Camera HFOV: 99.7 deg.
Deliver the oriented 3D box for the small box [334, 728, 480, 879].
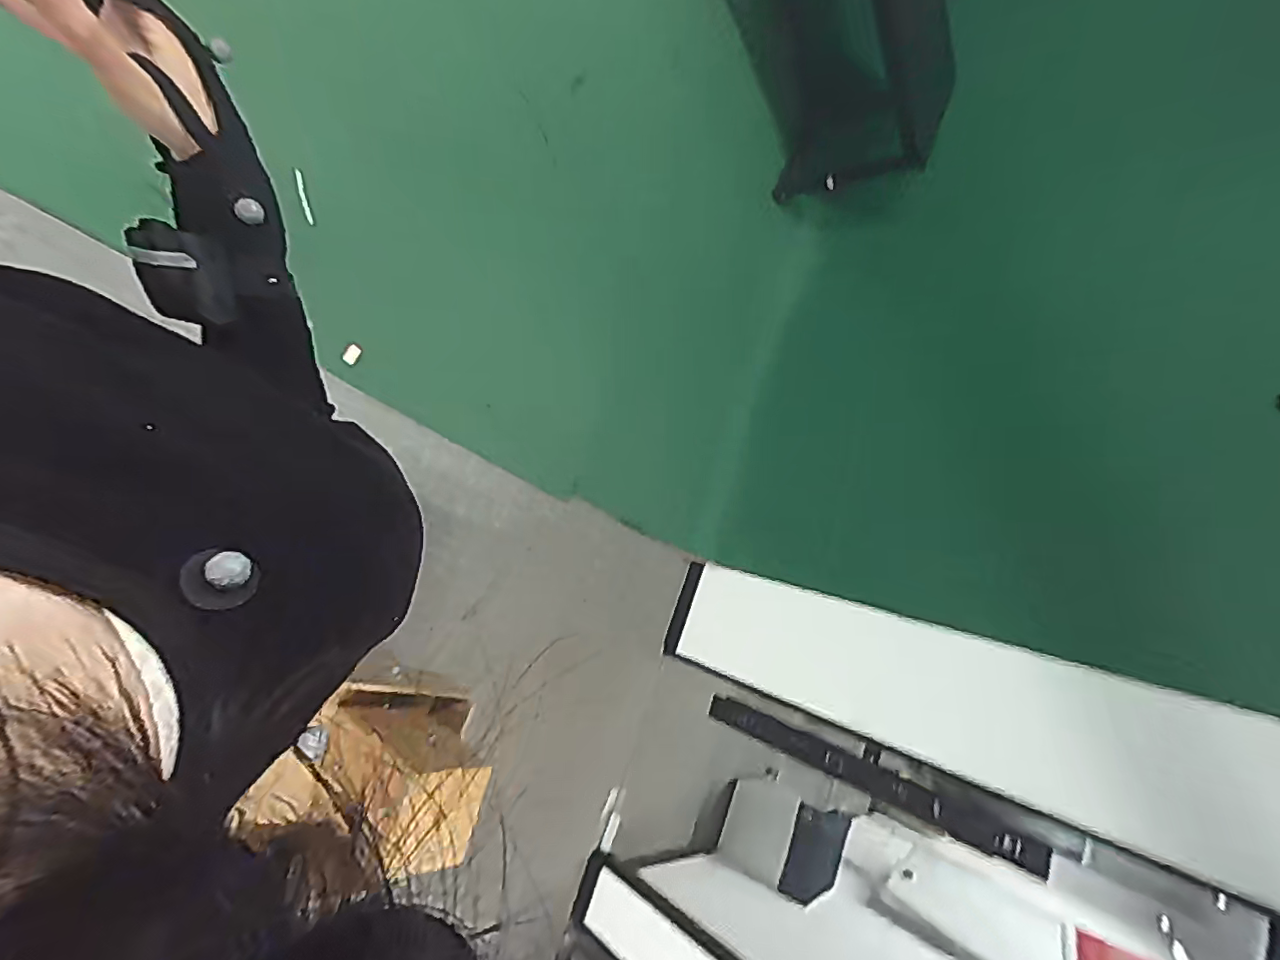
[{"bbox_3d":[-0.433,0.581,0.998,0.168,0.176,0.179,27,76,-48],"label":"small box"}]
